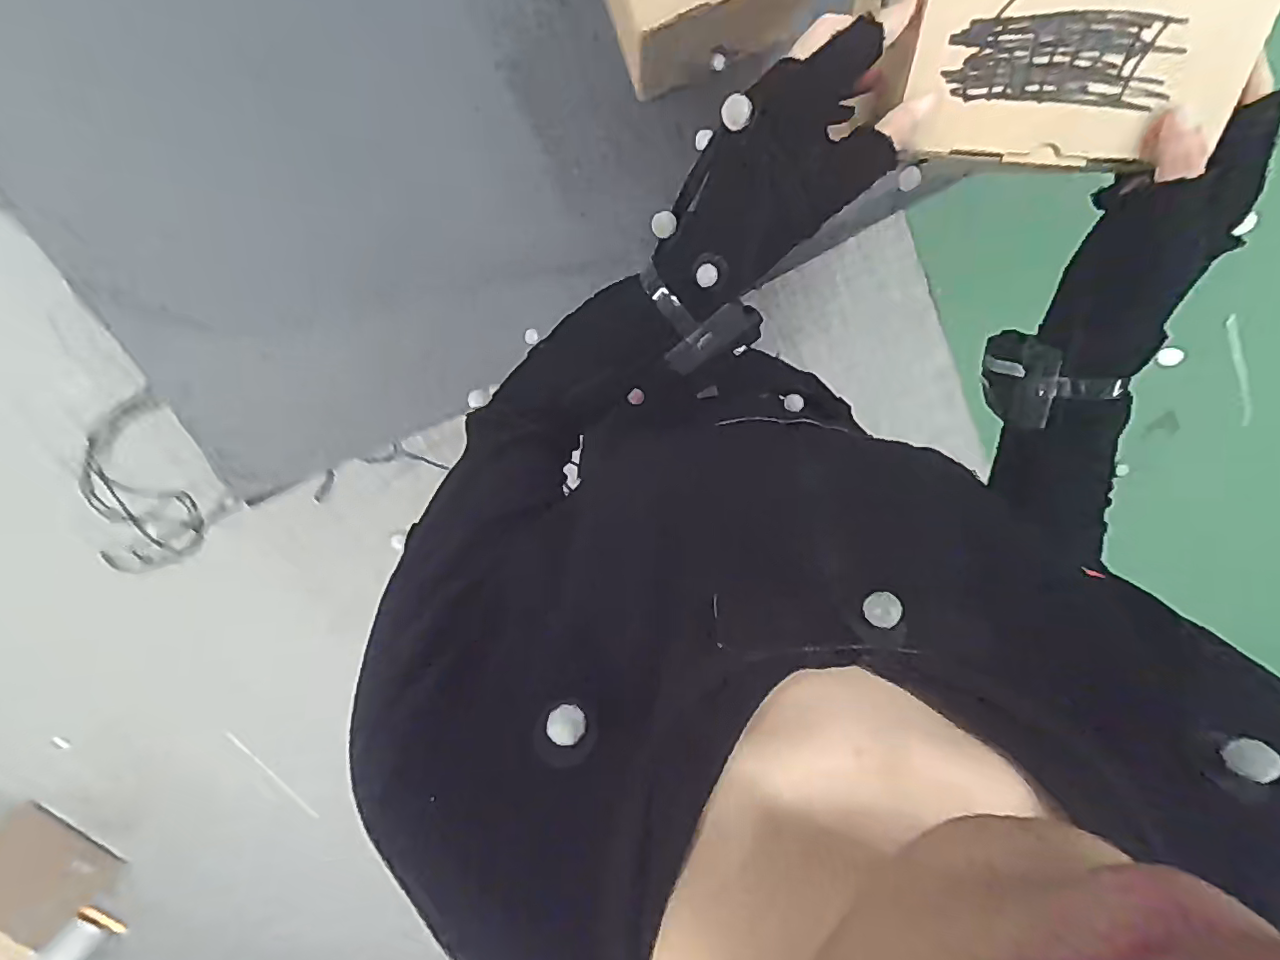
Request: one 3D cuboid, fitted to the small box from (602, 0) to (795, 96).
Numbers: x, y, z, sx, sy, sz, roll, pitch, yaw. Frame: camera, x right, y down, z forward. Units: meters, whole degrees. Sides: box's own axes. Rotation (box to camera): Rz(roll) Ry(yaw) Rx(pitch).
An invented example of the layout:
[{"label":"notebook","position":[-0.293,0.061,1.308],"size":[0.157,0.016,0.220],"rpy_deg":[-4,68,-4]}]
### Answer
[{"label":"small box","position":[0.040,-0.492,0.481],"size":[0.168,0.176,0.179],"rpy_deg":[-20,108,7]}]
